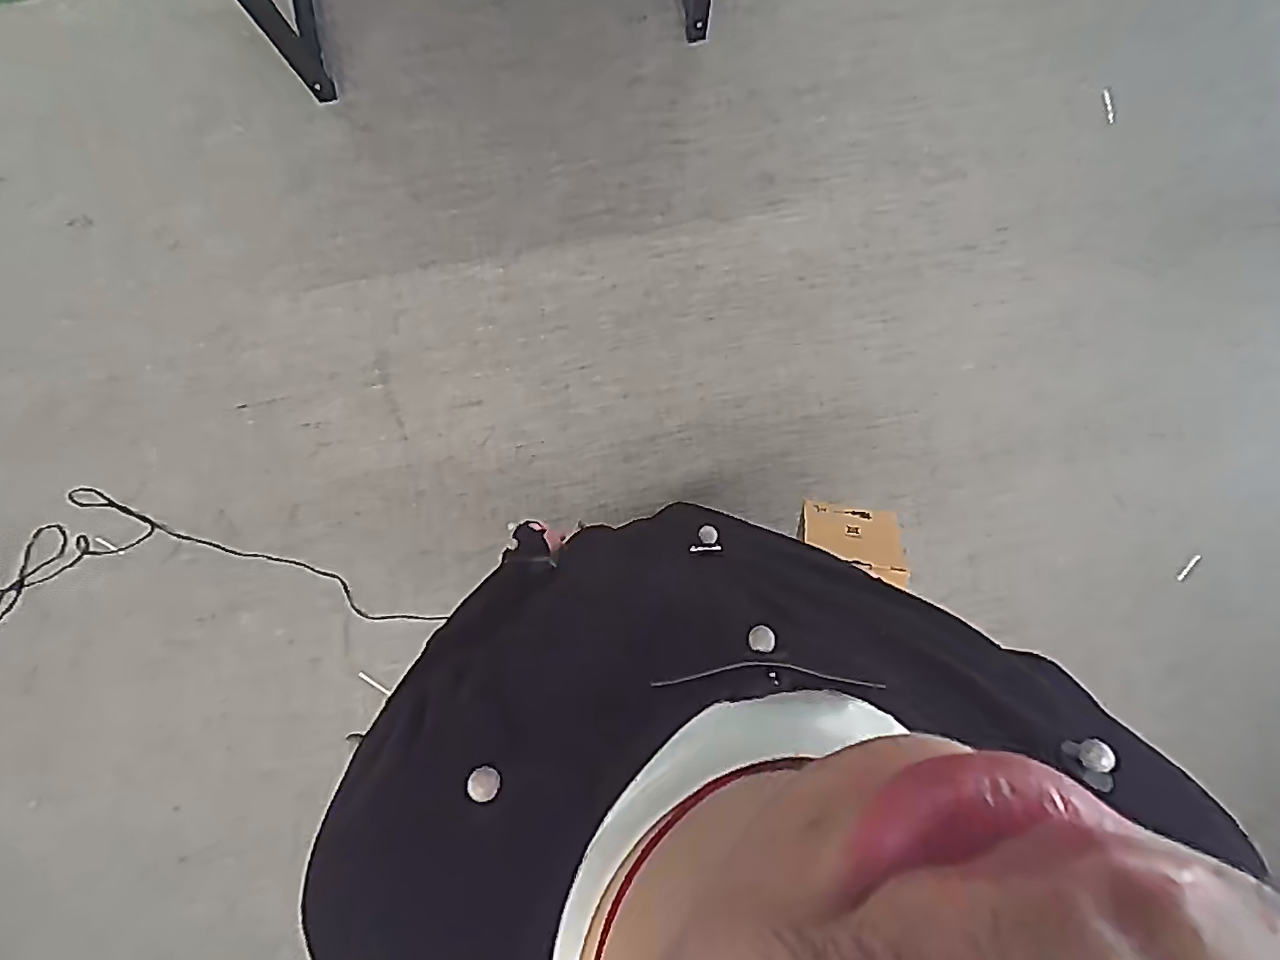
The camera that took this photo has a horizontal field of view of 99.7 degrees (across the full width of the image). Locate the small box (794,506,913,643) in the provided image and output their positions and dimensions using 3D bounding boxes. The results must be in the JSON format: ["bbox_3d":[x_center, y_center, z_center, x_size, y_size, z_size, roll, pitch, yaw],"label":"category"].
[{"bbox_3d":[0.373,0.168,0.975,0.168,0.179,0.176,6,120,11],"label":"small box"}]
